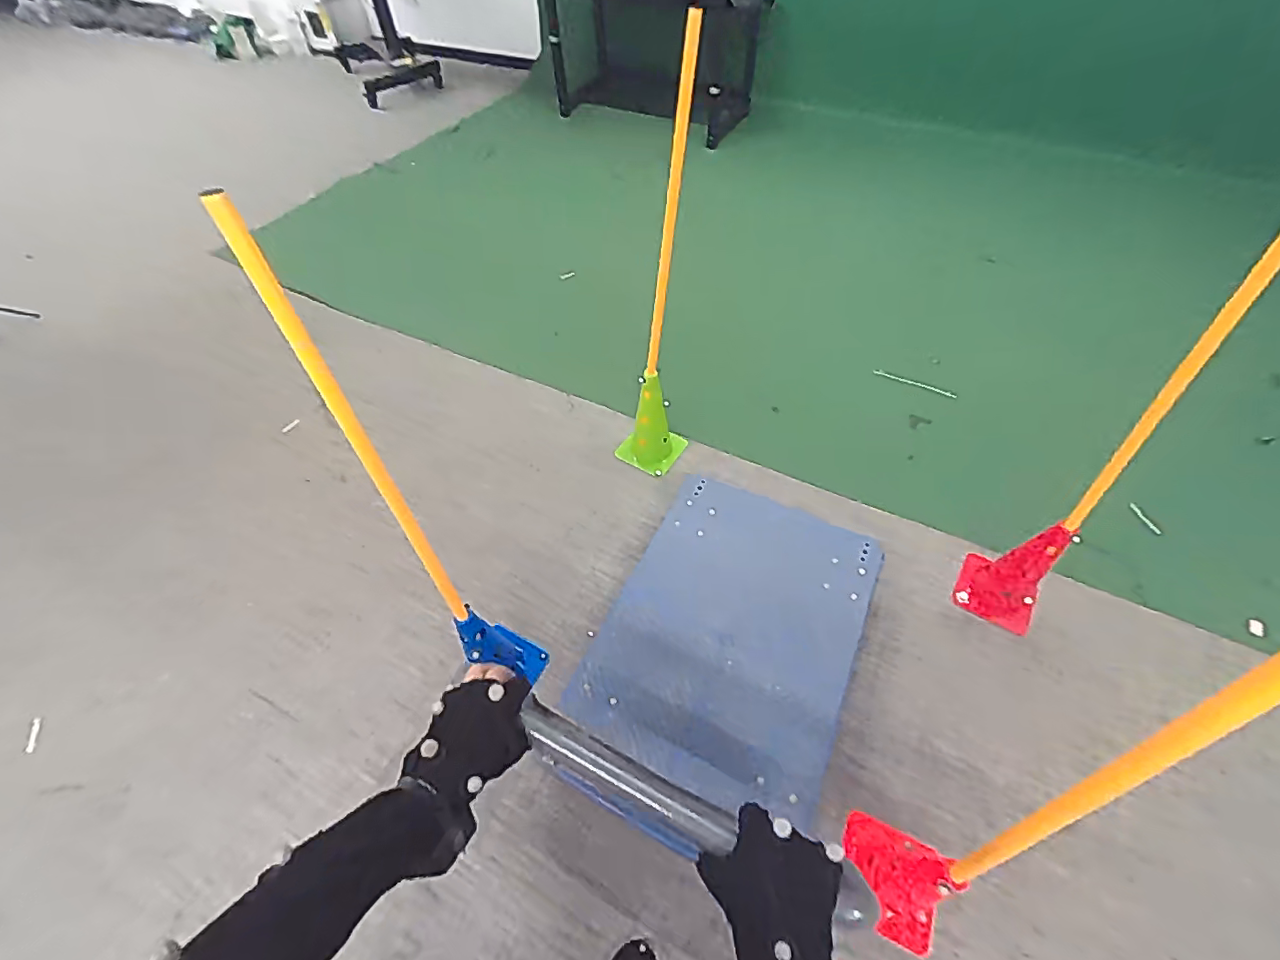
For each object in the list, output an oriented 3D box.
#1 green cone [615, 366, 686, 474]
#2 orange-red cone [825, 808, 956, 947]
[{"bbox_3d":[0.033,-0.225,1.790,0.202,0.368,0.200,26,57,21],"label":"green cone"},{"bbox_3d":[0.514,0.751,1.042,0.199,0.360,0.198,21,56,19],"label":"orange-red cone"}]
